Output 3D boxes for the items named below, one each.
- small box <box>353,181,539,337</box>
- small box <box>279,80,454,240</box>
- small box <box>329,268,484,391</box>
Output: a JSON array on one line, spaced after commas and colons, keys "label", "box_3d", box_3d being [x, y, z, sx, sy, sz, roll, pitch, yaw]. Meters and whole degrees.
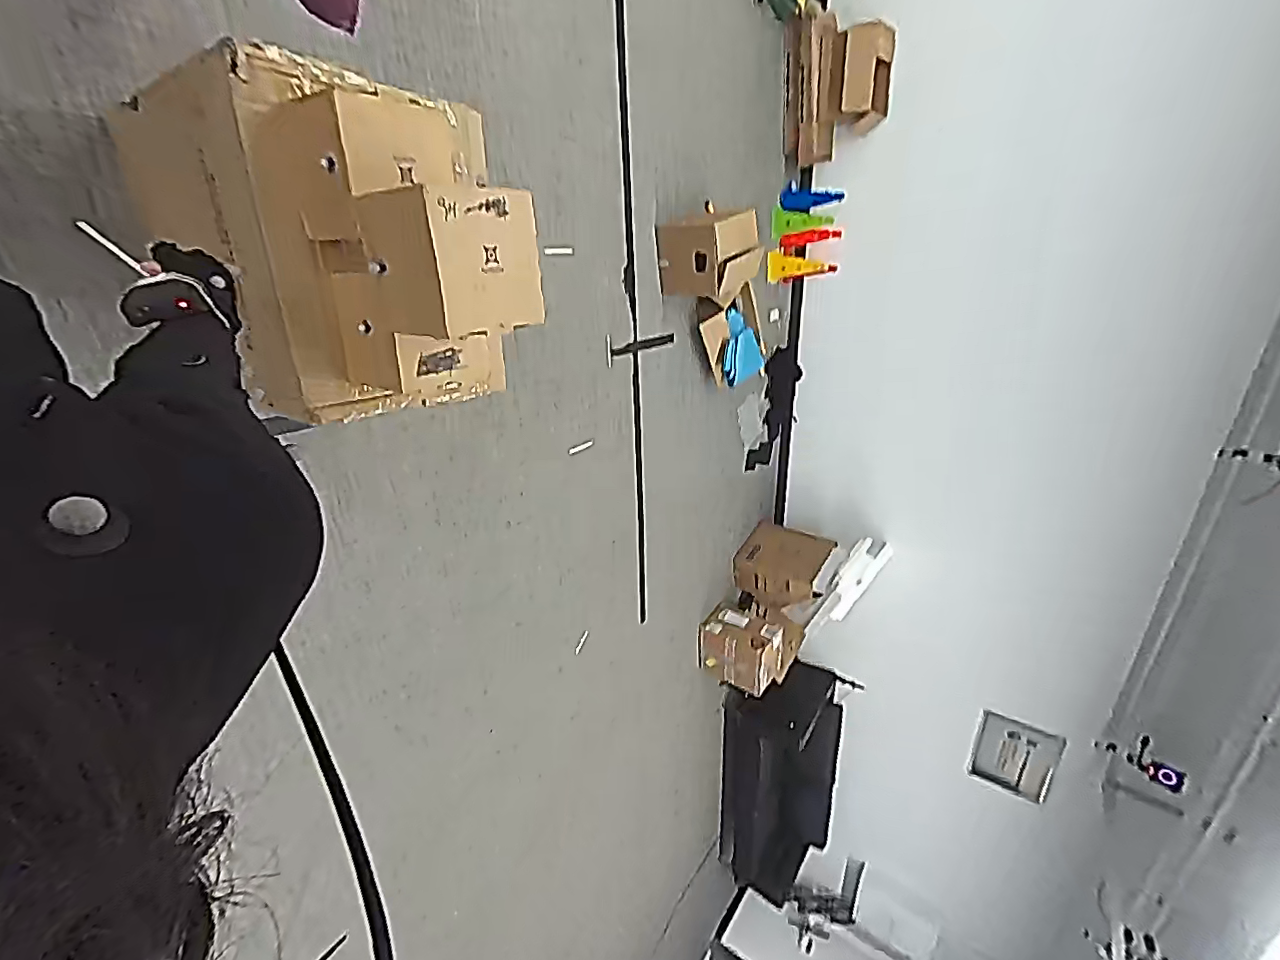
[{"label": "small box", "box_3d": [-0.262, -0.301, 0.745, 0.168, 0.176, 0.179, -28, 124, -47]}, {"label": "small box", "box_3d": [-0.393, -0.449, 0.791, 0.168, 0.176, 0.179, -27, 126, -47]}, {"label": "small box", "box_3d": [-0.380, -0.250, 0.888, 0.168, 0.176, 0.179, -23, 118, -50]}]
